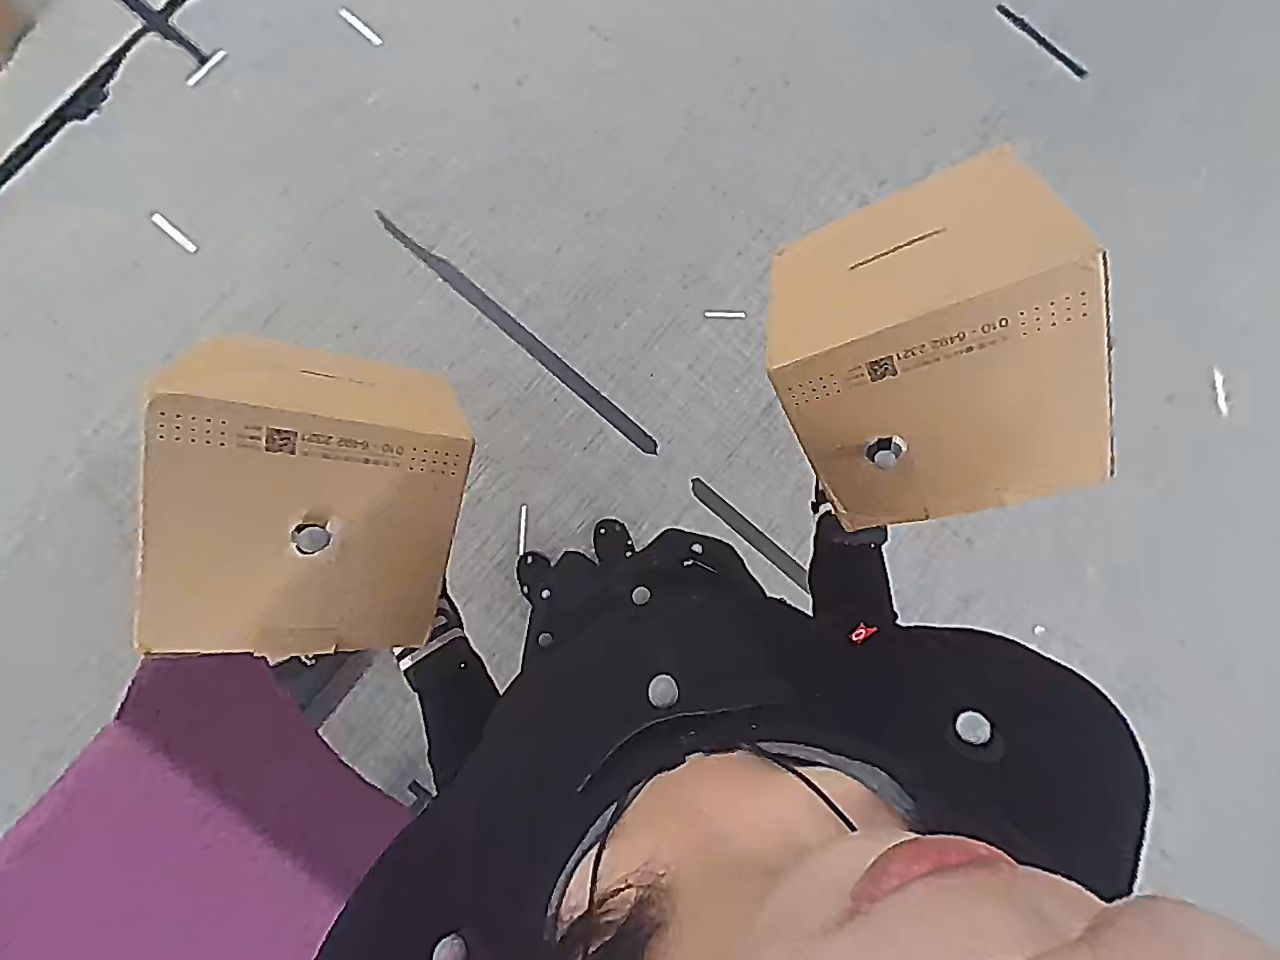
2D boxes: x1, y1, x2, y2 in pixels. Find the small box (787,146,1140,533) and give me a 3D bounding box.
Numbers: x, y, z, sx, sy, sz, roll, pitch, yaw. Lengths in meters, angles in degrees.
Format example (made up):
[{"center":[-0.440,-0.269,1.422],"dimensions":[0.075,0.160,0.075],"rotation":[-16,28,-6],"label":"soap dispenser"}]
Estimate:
[{"center":[0.209,-0.093,0.378],"dimensions":[0.168,0.179,0.176],"rotation":[-14,129,28],"label":"small box"}]
